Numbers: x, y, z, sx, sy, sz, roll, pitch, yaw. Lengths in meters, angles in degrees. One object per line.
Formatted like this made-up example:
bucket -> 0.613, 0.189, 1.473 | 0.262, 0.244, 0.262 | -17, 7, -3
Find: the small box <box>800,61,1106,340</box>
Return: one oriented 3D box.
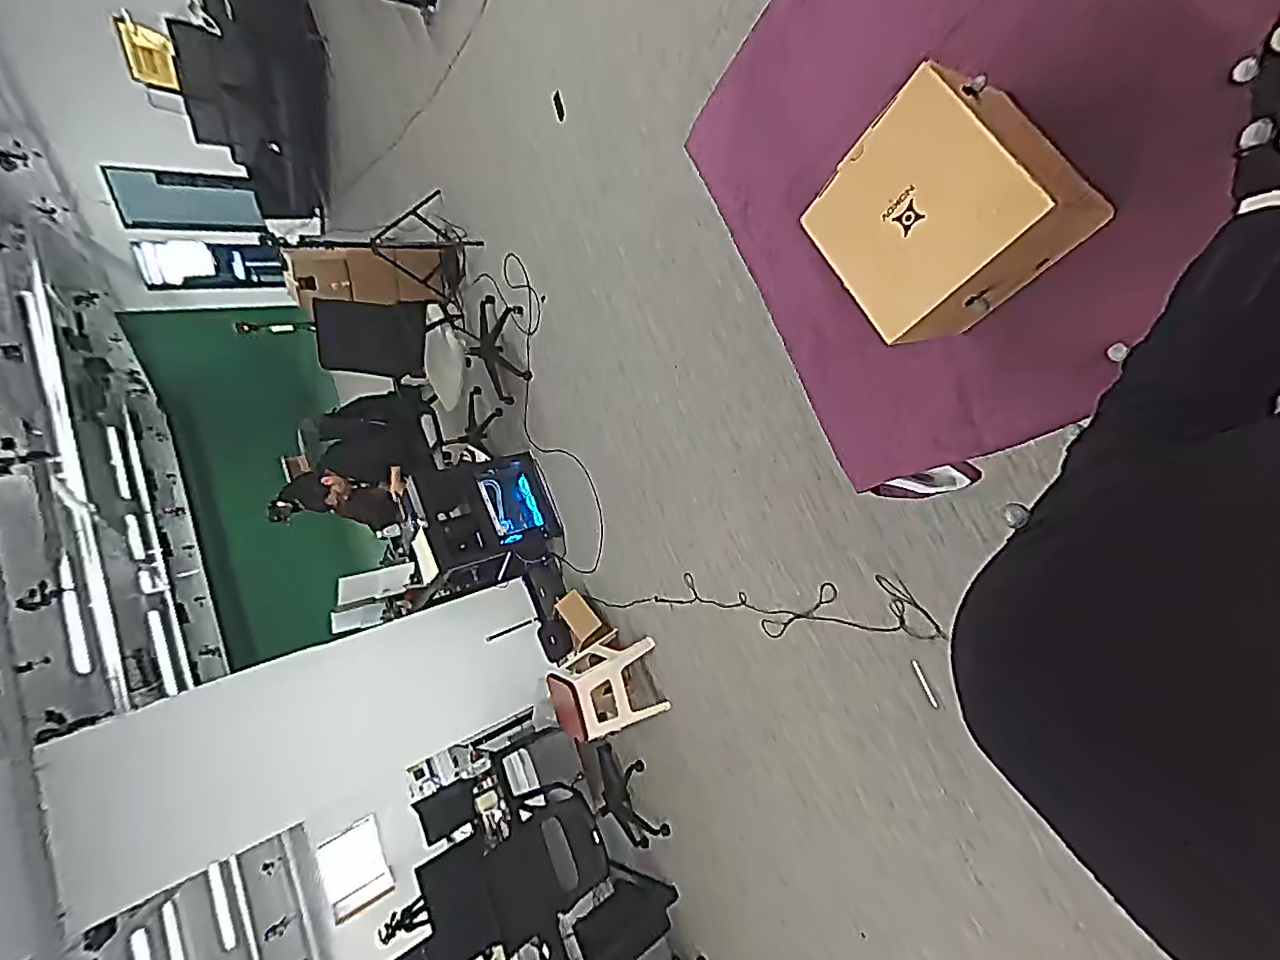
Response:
small box -> 0.306, -0.266, 0.540 | 0.179, 0.176, 0.168 | 63, 144, 17
